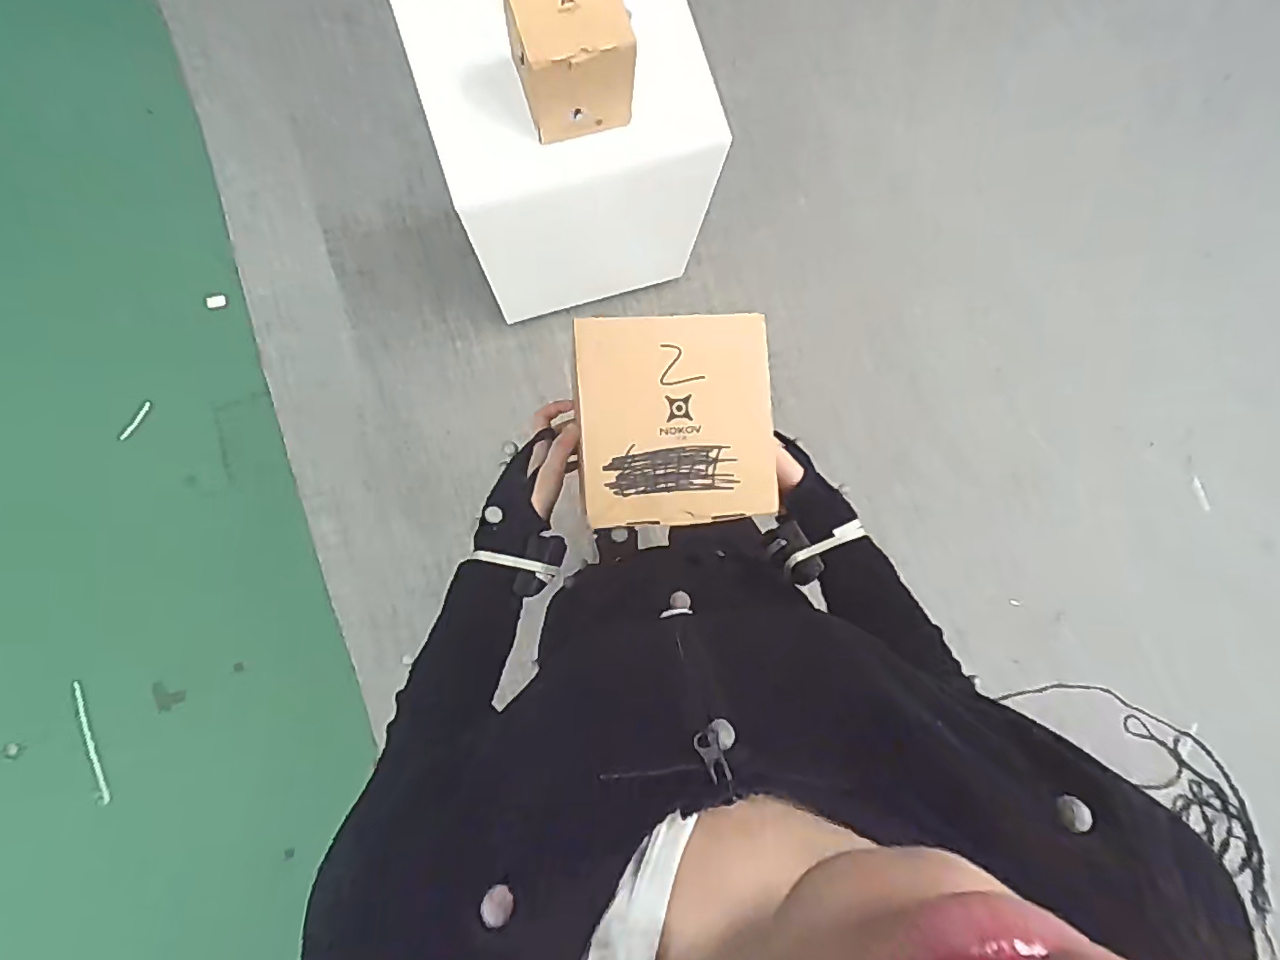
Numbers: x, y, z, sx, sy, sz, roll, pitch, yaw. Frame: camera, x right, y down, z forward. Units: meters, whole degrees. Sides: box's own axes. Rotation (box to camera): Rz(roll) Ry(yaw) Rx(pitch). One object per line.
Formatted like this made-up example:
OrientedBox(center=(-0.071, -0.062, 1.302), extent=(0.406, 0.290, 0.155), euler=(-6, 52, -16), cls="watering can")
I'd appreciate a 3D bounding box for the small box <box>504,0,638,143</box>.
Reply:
OrientedBox(center=(-0.112, -0.685, 0.858), extent=(0.168, 0.176, 0.179), euler=(-18, 87, -6), cls="small box")
